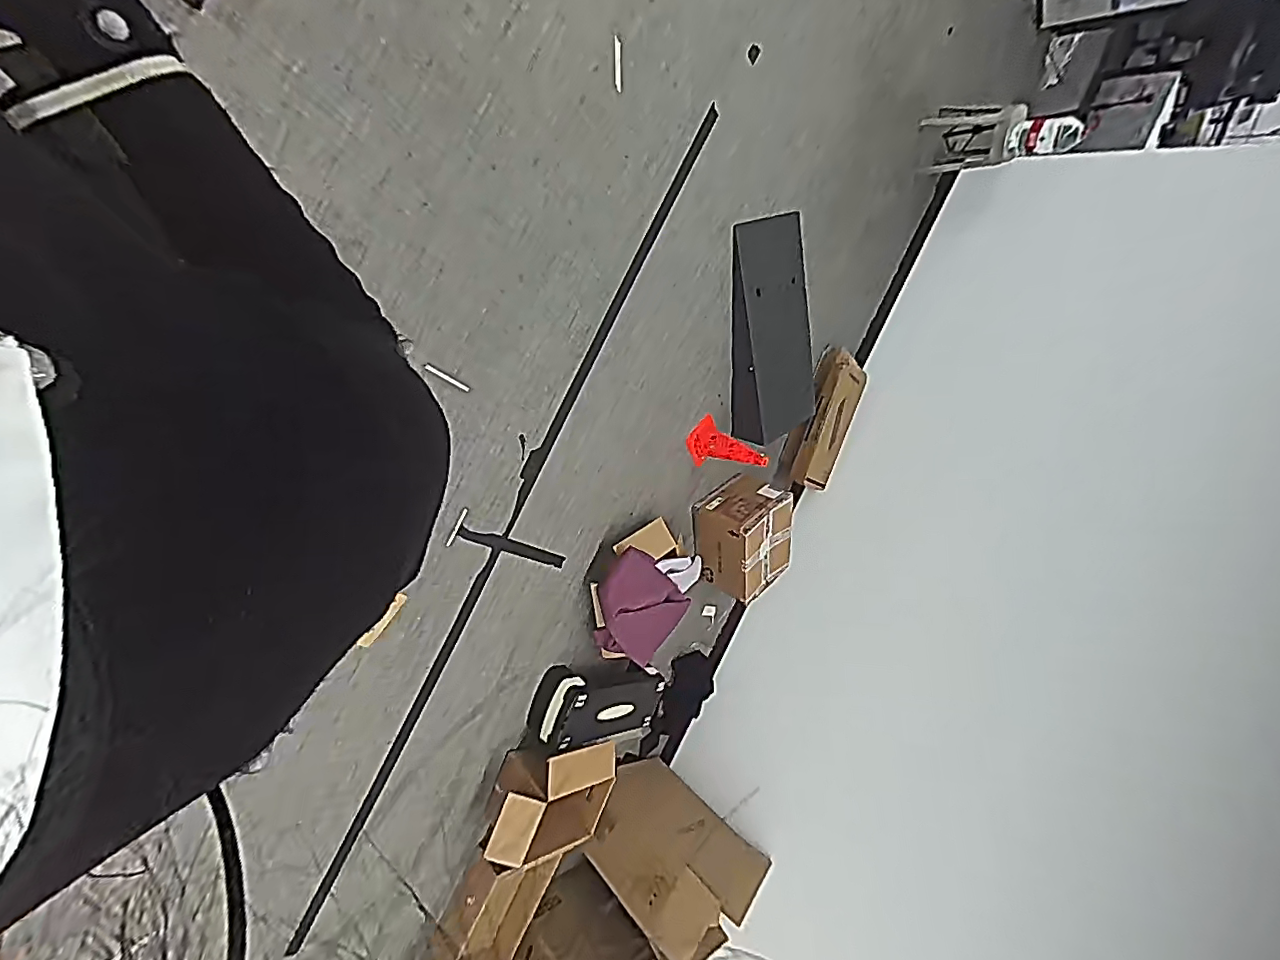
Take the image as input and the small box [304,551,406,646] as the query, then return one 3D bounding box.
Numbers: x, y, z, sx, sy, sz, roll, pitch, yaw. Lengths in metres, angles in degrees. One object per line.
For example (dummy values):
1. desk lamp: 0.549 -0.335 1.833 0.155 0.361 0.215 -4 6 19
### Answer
1. small box: -0.807 0.330 1.521 0.179 0.176 0.168 -55 139 -12
